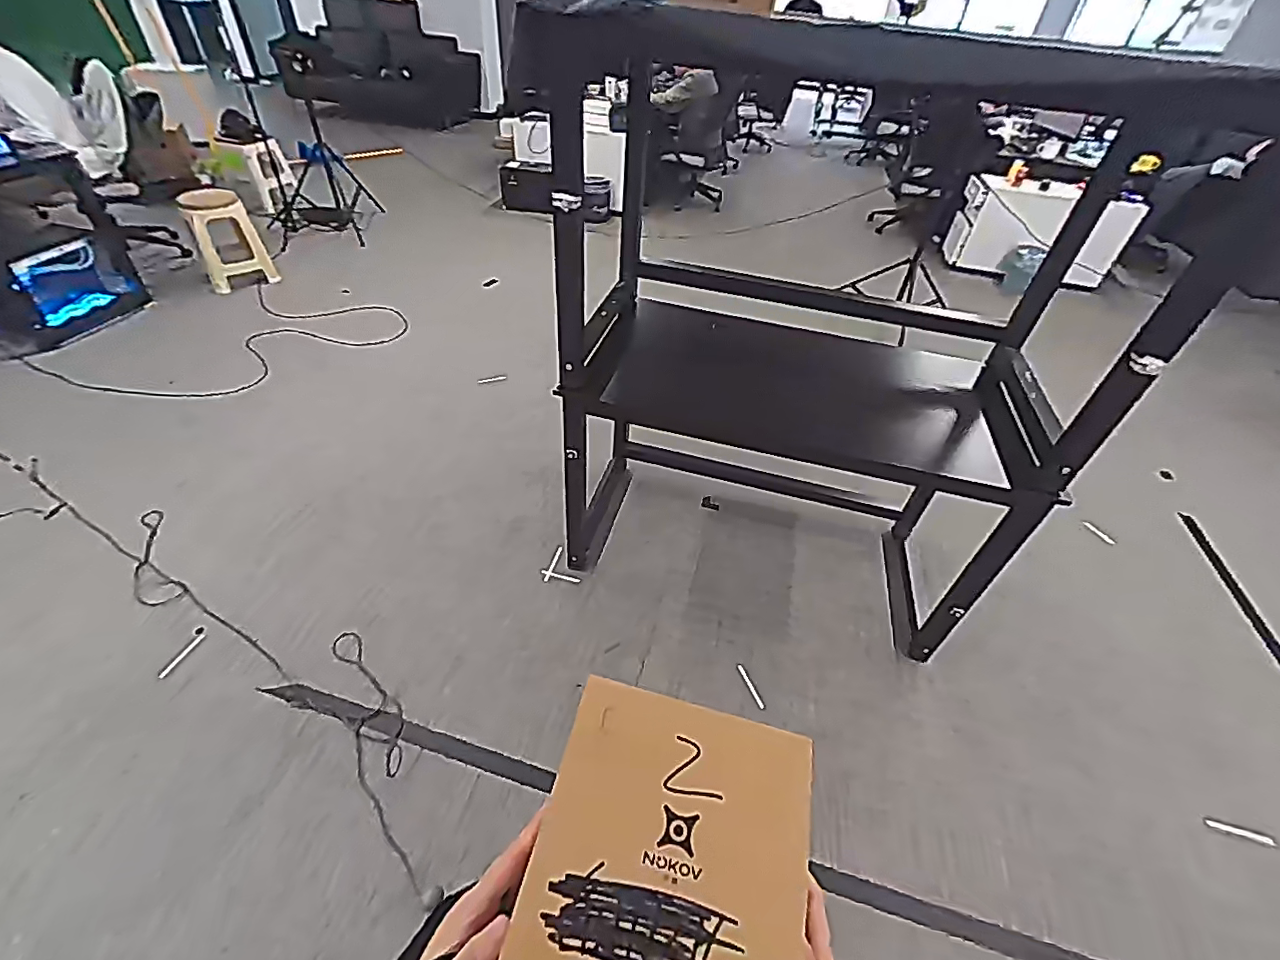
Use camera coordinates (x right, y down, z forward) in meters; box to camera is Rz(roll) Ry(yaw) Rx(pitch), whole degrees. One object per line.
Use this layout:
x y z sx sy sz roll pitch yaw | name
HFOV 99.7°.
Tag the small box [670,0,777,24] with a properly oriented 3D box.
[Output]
0.147 -0.839 0.856 0.168 0.176 0.179 12 41 5 | small box
